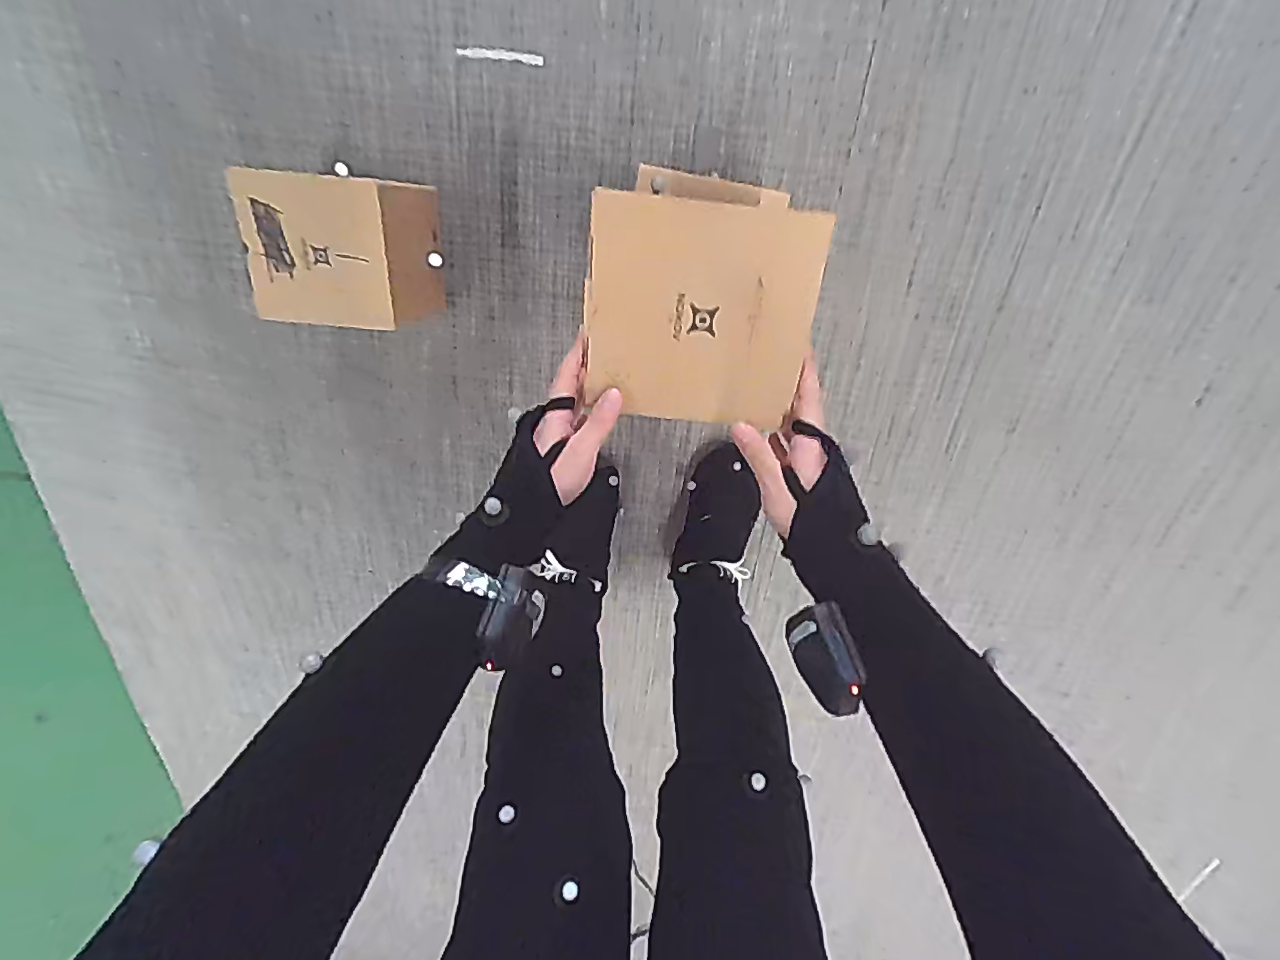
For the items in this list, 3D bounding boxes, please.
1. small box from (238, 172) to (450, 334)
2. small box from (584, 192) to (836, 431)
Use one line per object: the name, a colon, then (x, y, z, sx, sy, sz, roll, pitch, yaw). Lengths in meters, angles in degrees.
small box: (-0.370, -0.297, 0.713, 0.179, 0.176, 0.168, 5, 116, 0)
small box: (0.052, -0.158, 0.494, 0.179, 0.176, 0.168, 6, 116, 0)
